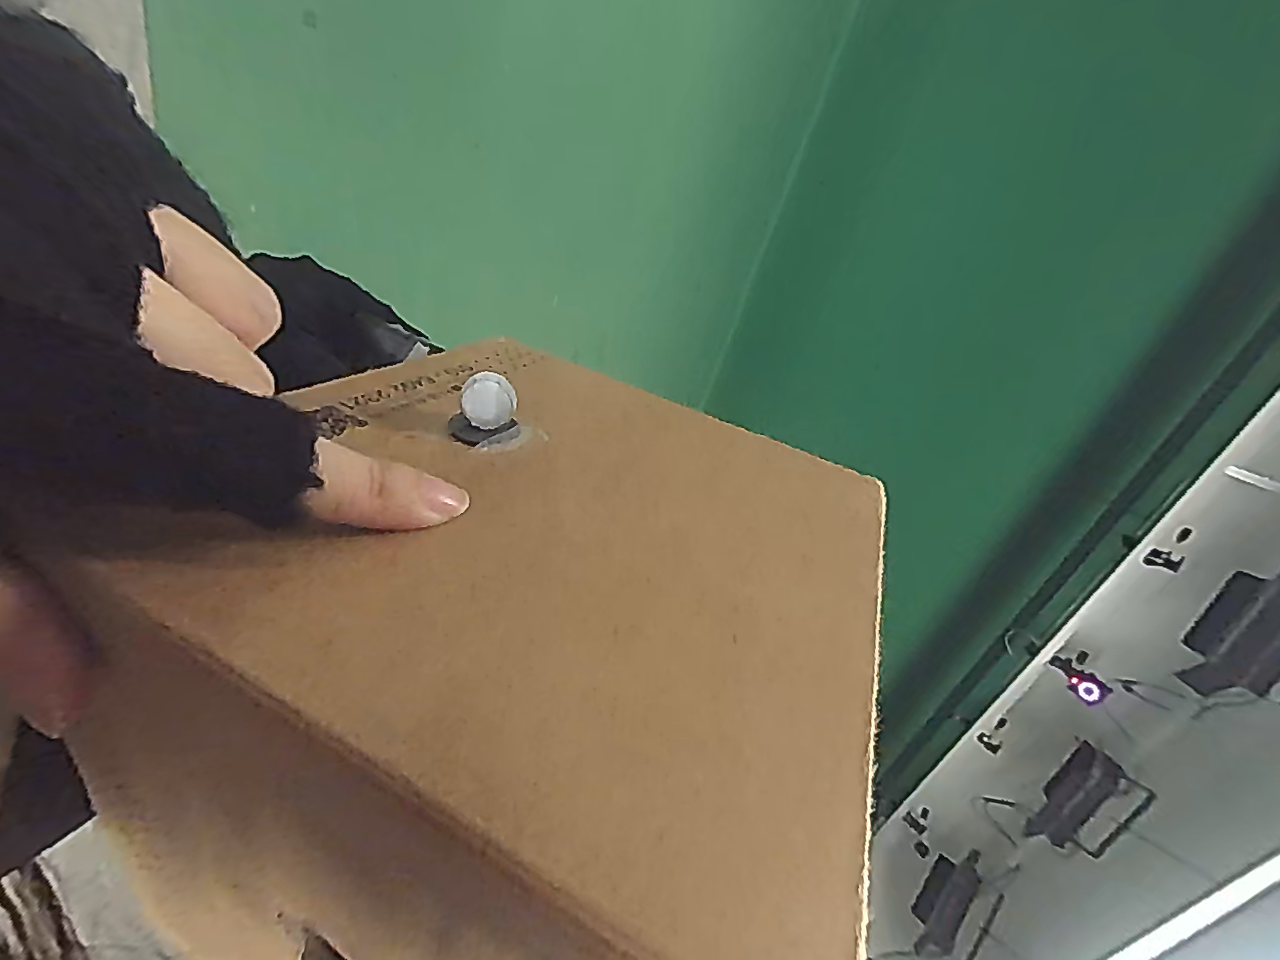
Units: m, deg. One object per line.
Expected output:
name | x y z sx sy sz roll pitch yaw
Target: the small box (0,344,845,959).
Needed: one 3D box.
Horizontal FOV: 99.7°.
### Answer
small box | -0.048 0.071 0.194 0.168 0.176 0.179 -44 153 -58
